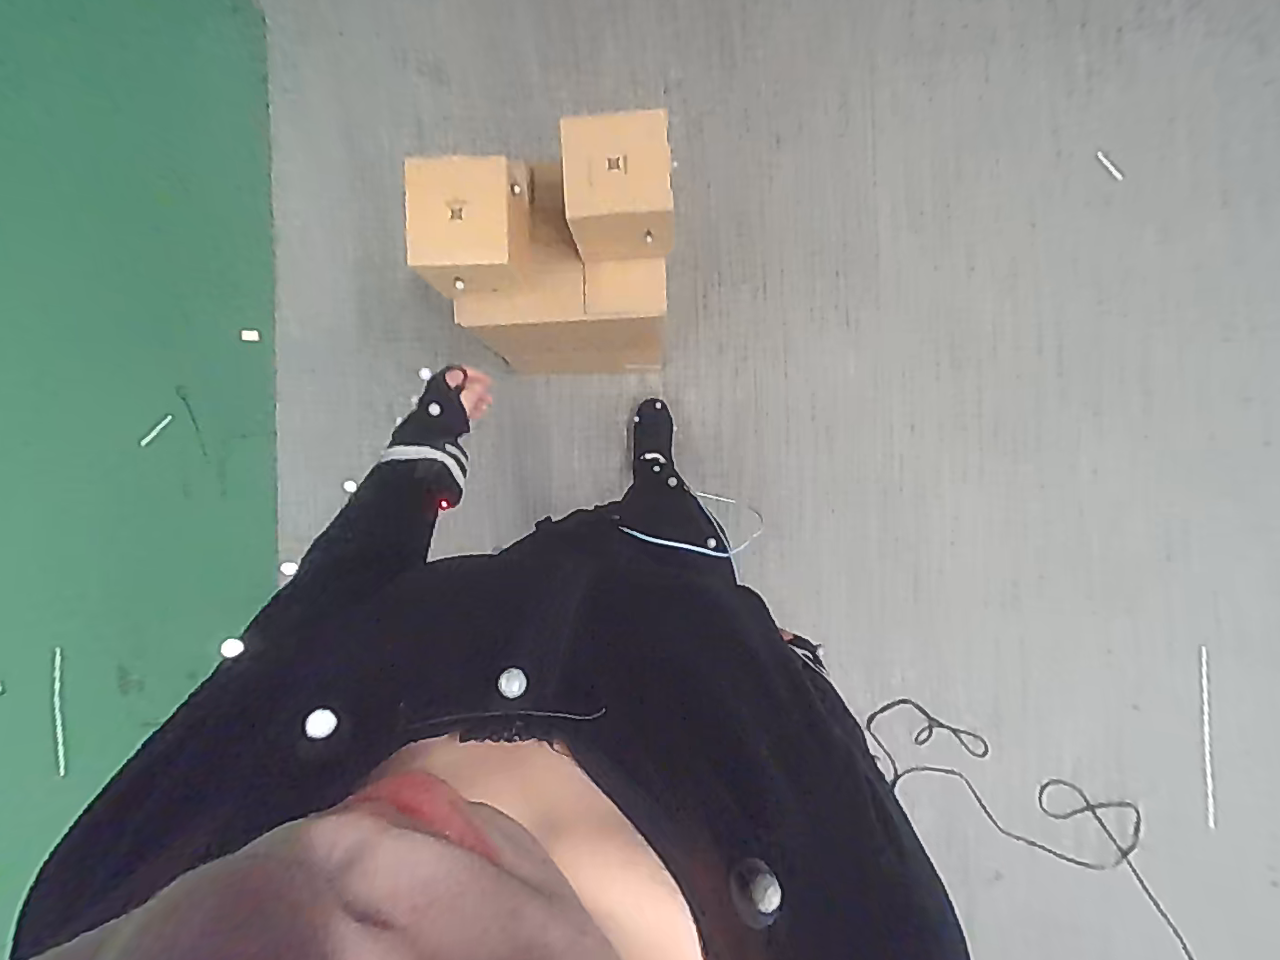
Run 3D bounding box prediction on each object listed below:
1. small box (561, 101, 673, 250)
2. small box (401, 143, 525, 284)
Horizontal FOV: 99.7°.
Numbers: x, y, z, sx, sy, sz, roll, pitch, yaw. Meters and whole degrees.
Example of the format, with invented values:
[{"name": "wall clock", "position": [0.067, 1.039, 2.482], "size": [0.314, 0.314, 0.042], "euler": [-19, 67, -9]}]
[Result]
[{"name": "small box", "position": [-0.035, -0.515, 0.934], "size": [0.179, 0.176, 0.168], "euler": [-2, 90, 3]}, {"name": "small box", "position": [-0.297, -0.451, 0.939], "size": [0.168, 0.176, 0.179], "euler": [0, 92, 0]}]
